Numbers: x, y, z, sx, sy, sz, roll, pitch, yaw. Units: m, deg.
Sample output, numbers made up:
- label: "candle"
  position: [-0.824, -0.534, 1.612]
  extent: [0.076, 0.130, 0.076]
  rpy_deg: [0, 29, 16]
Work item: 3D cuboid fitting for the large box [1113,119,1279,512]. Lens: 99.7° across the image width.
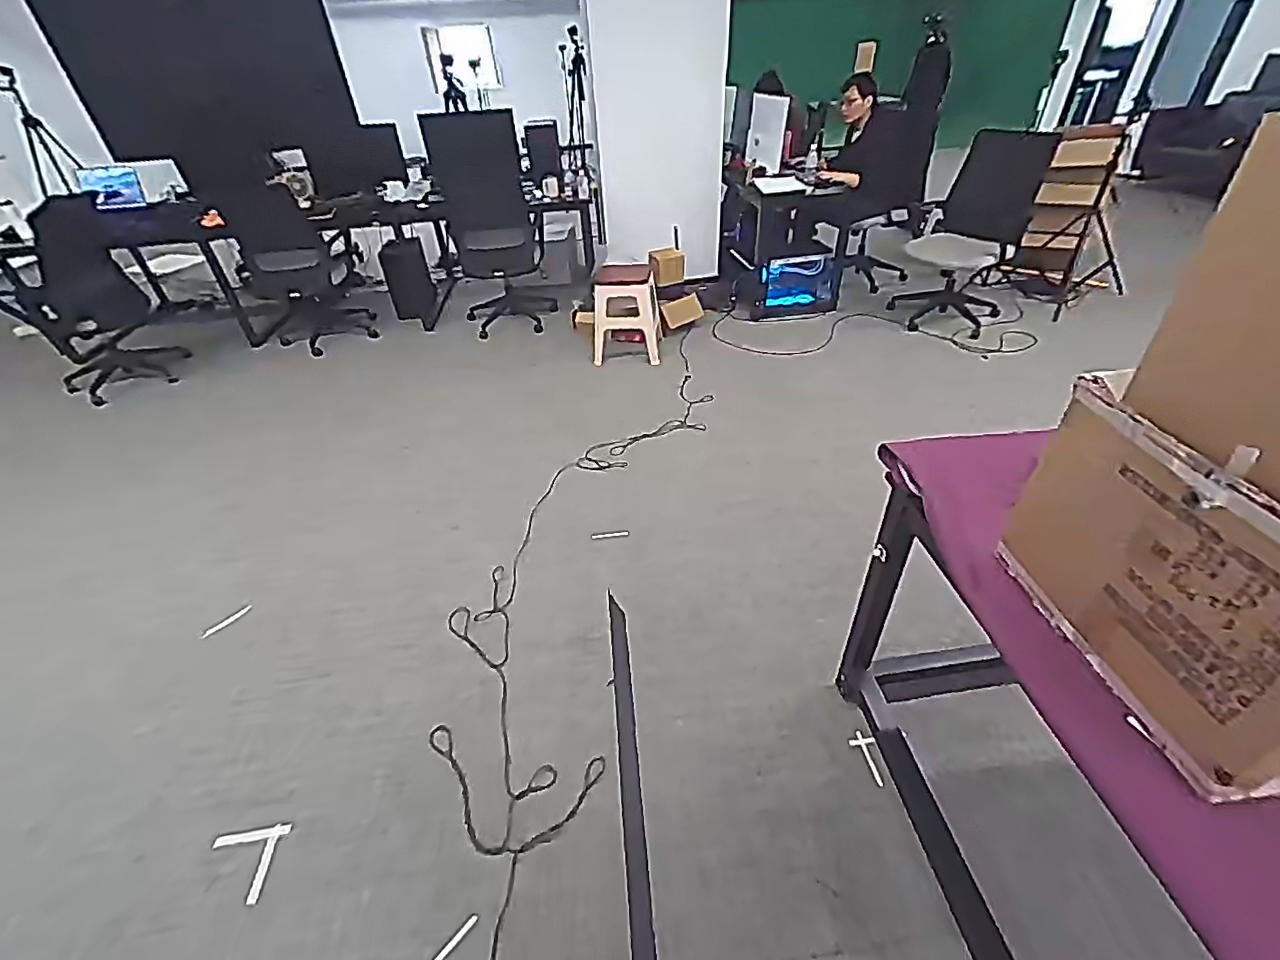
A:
- label: "large box"
  position: [0.783, -0.145, 0.474]
  extent: [0.408, 0.320, 0.320]
  rpy_deg: [-6, 34, -1]
